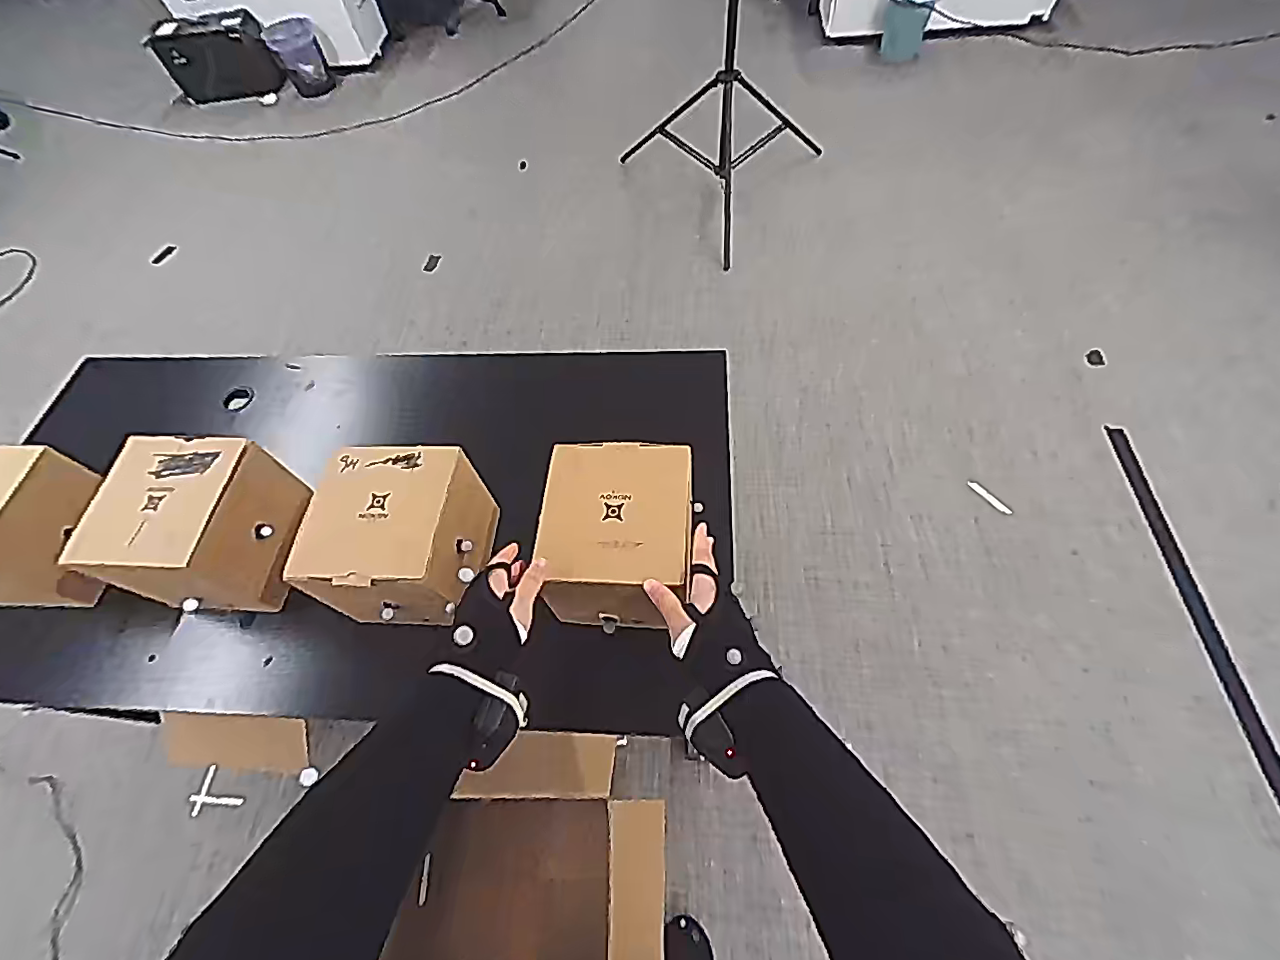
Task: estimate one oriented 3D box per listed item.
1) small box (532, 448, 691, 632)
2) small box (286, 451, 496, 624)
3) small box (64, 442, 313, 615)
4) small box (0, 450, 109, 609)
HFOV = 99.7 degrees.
[{"bbox_3d":[-0.022,0.077,0.674,0.168,0.176,0.179,0,59,7],"label":"small box"},{"bbox_3d":[-0.299,0.079,0.696,0.168,0.176,0.179,1,60,5],"label":"small box"},{"bbox_3d":[-0.573,0.068,0.725,0.168,0.176,0.179,1,60,6],"label":"small box"},{"bbox_3d":[-0.858,0.072,0.744,0.179,0.176,0.168,0,59,4],"label":"small box"}]
